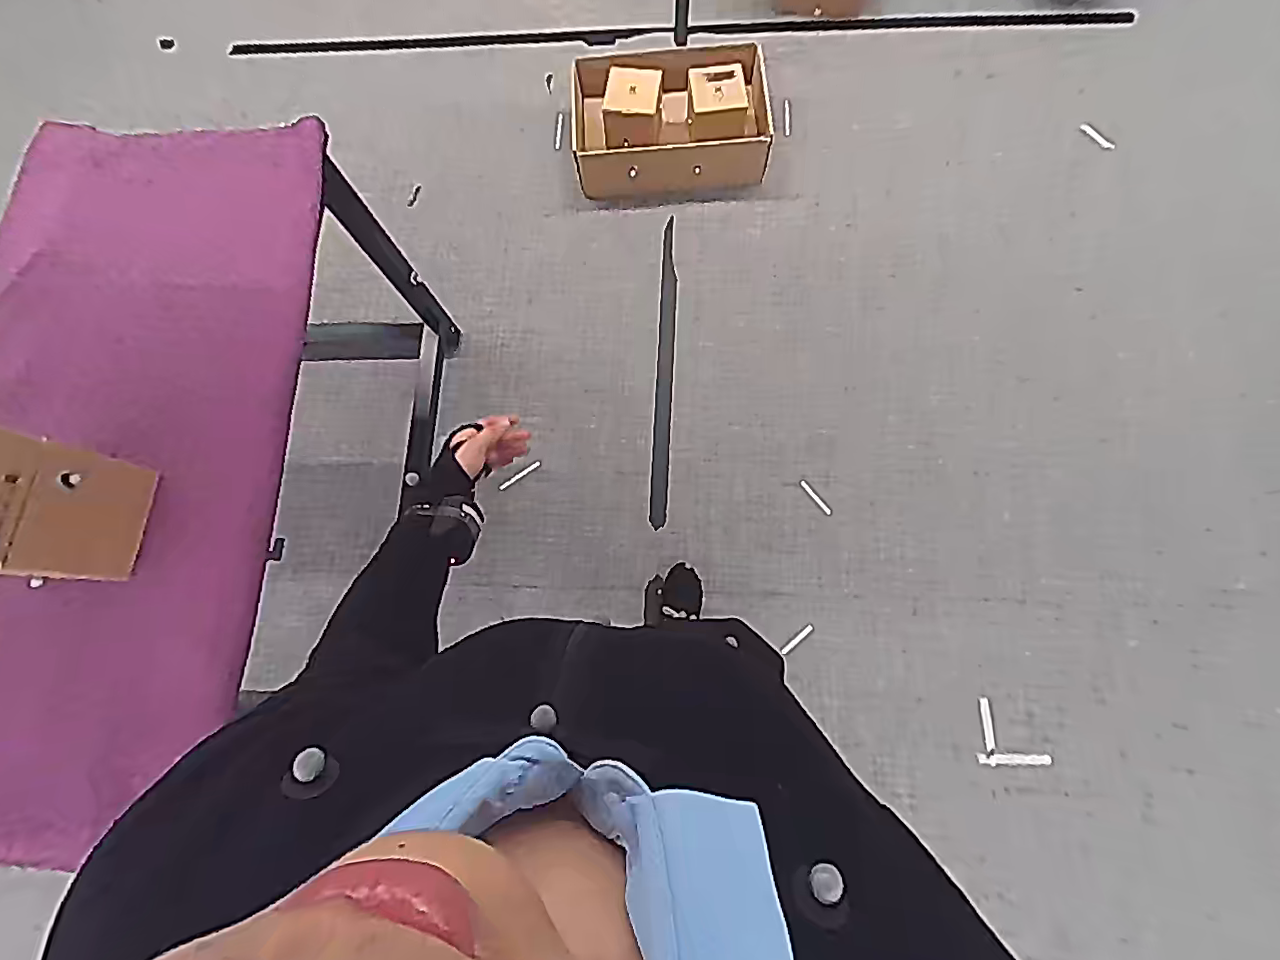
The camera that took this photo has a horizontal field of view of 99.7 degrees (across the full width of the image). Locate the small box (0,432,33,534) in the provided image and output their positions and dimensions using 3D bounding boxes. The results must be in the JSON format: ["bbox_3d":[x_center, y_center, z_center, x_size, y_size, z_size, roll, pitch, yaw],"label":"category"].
[{"bbox_3d":[-0.877,0.005,0.616,0.179,0.176,0.168,0,75,4],"label":"small box"}]

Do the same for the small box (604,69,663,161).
[{"bbox_3d":[-0.019,-1.182,1.755,0.168,0.176,0.179,7,75,4],"label":"small box"}]

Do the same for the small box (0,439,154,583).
[{"bbox_3d":[-0.859,0.048,0.773,0.168,0.176,0.179,2,75,5],"label":"small box"}]
